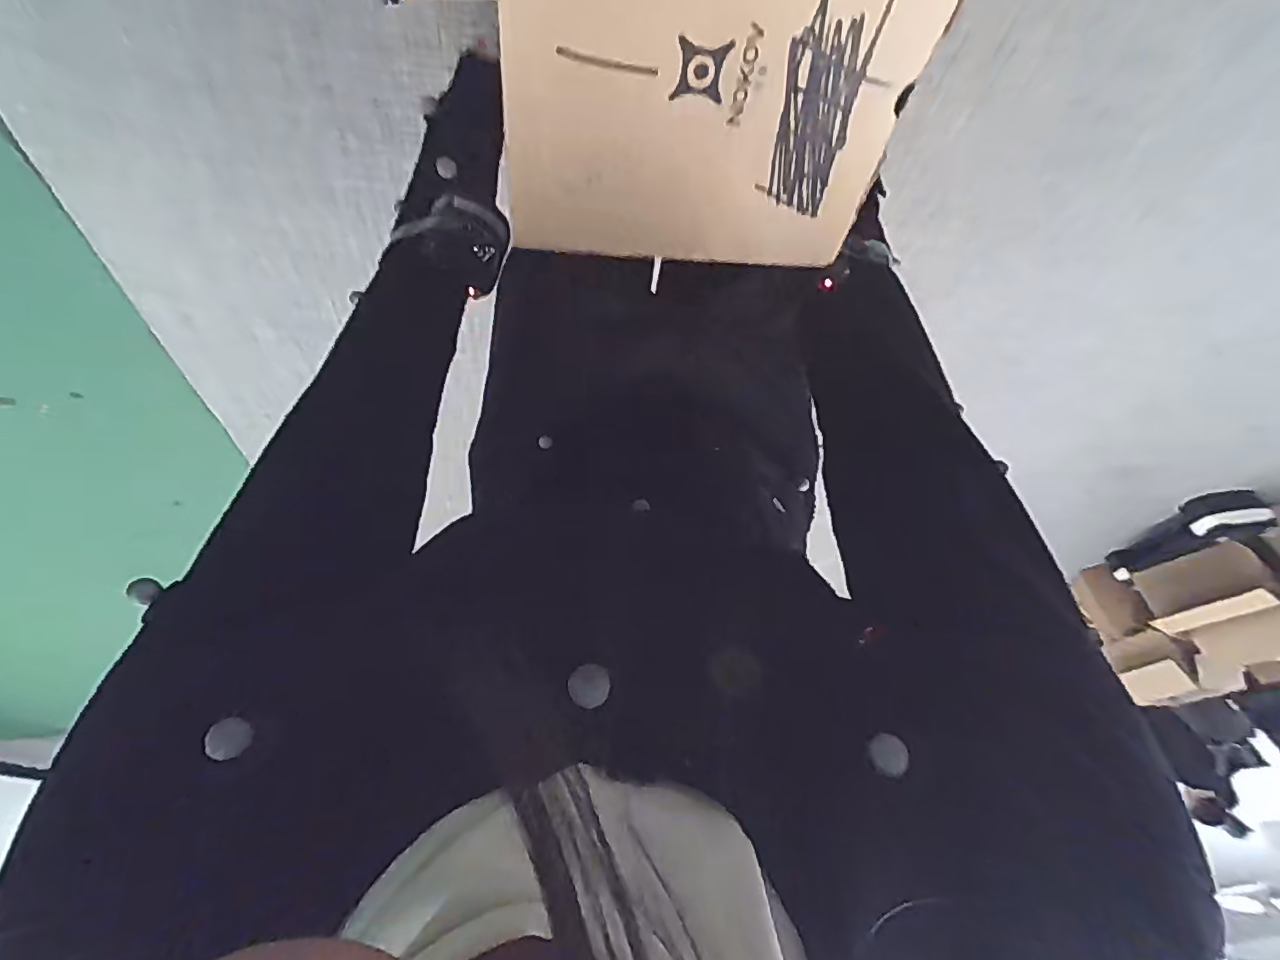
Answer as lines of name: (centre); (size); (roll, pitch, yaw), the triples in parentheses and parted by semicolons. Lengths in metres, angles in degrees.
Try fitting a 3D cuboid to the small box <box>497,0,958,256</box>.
small box: (0.024, -0.233, 0.258); (0.179, 0.176, 0.168); (0, 147, -10)
